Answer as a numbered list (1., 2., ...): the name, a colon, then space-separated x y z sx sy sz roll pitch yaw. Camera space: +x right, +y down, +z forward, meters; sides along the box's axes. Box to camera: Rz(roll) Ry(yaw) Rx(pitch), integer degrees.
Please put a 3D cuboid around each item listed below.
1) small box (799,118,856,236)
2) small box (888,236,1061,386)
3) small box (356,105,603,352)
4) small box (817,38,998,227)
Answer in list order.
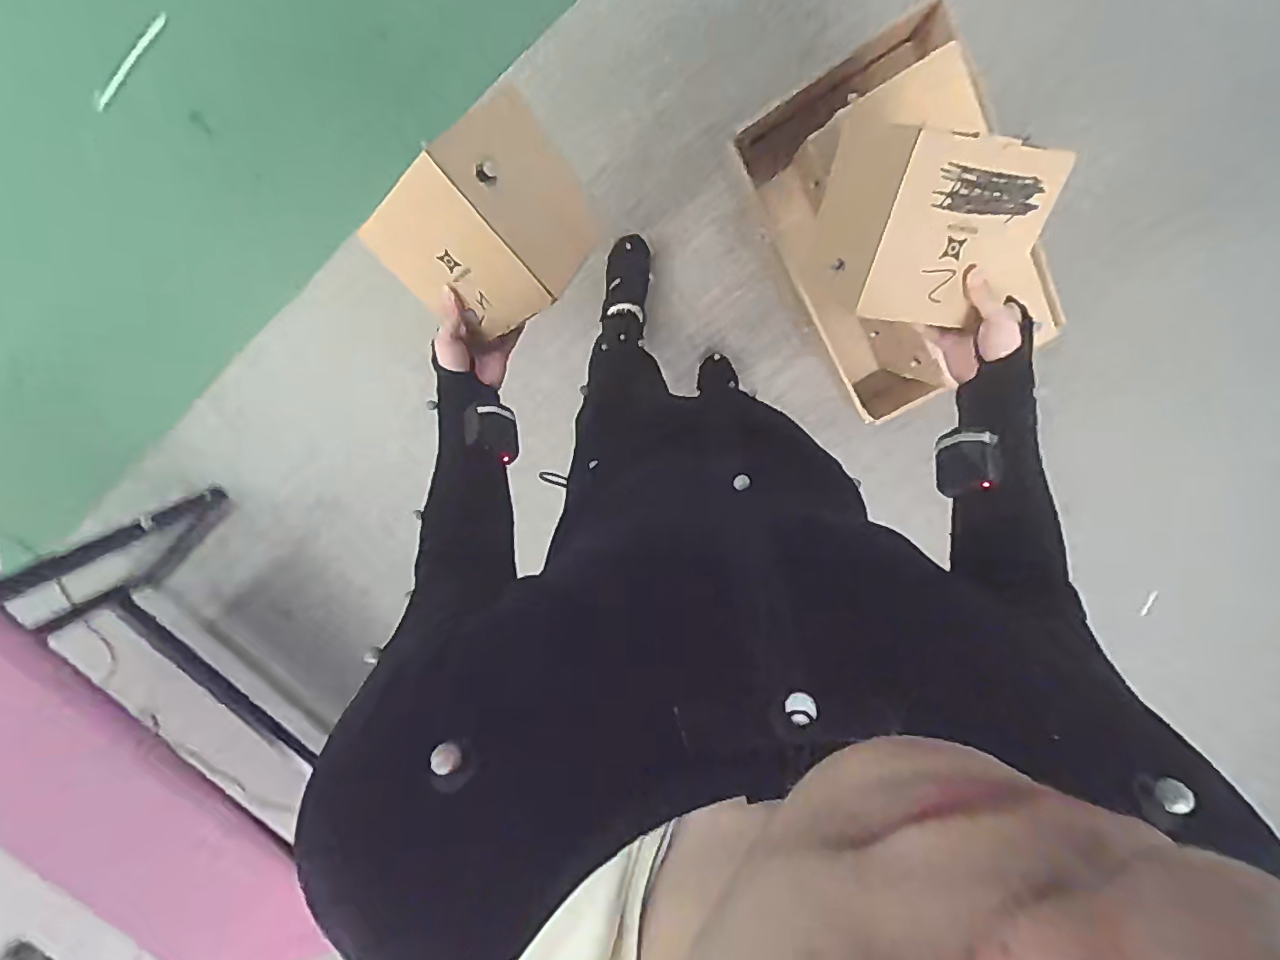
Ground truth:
1. small box: 0.410 -0.573 0.991 0.168 0.176 0.179 -25 106 13
2. small box: 0.540 -0.278 0.903 0.179 0.176 0.168 -27 105 12
3. small box: -0.175 -0.287 0.620 0.168 0.176 0.179 -14 132 44
4. small box: 0.400 -0.518 0.837 0.179 0.176 0.168 -26 105 14
